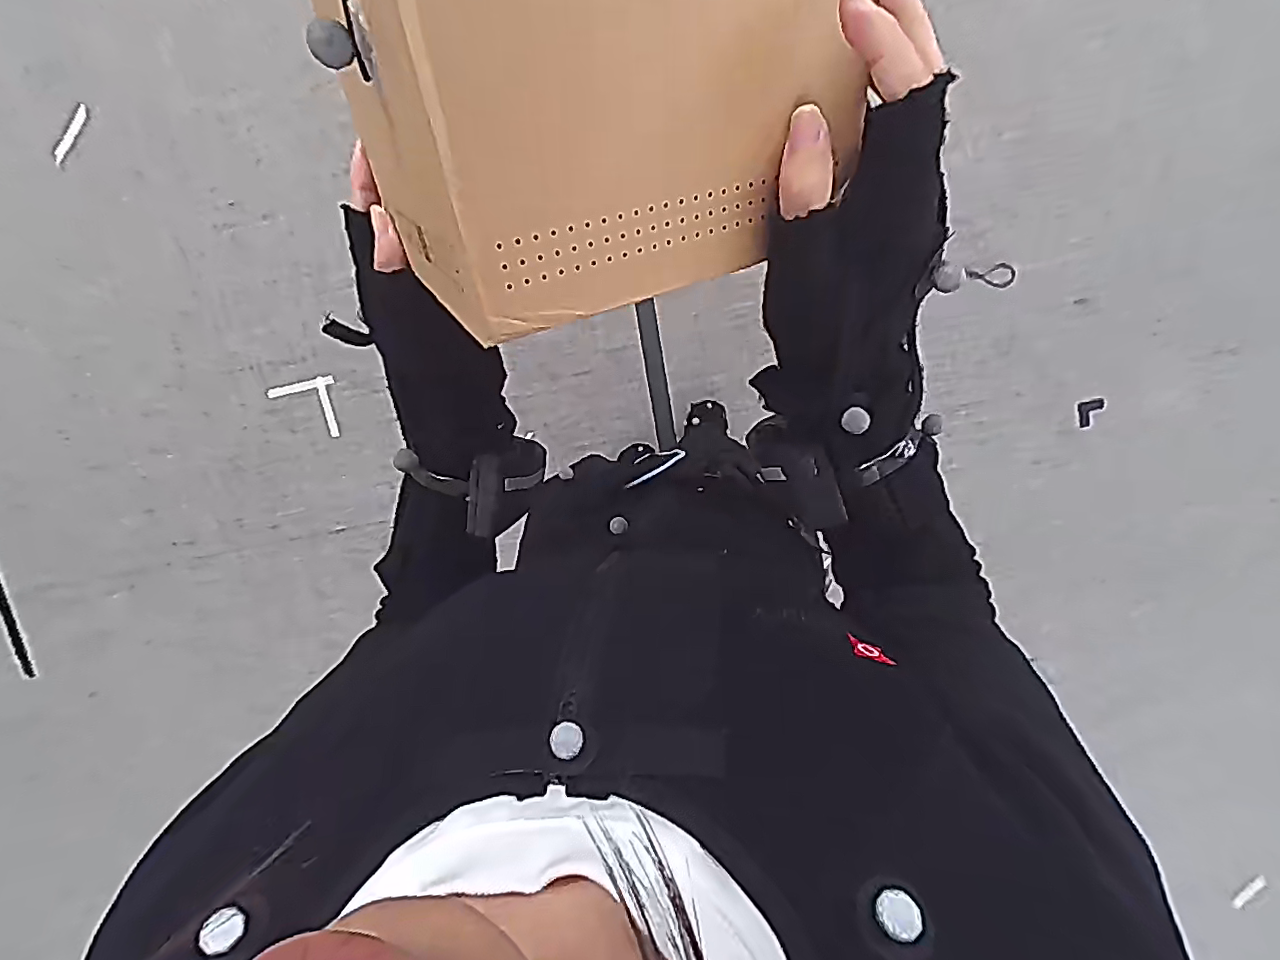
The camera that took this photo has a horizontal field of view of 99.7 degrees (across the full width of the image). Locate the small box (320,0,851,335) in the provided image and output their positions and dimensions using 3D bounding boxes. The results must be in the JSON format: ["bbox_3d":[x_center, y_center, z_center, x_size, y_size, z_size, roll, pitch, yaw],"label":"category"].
[{"bbox_3d":[-0.026,-0.179,0.230,0.179,0.168,0.176,-24,131,-19],"label":"small box"}]
